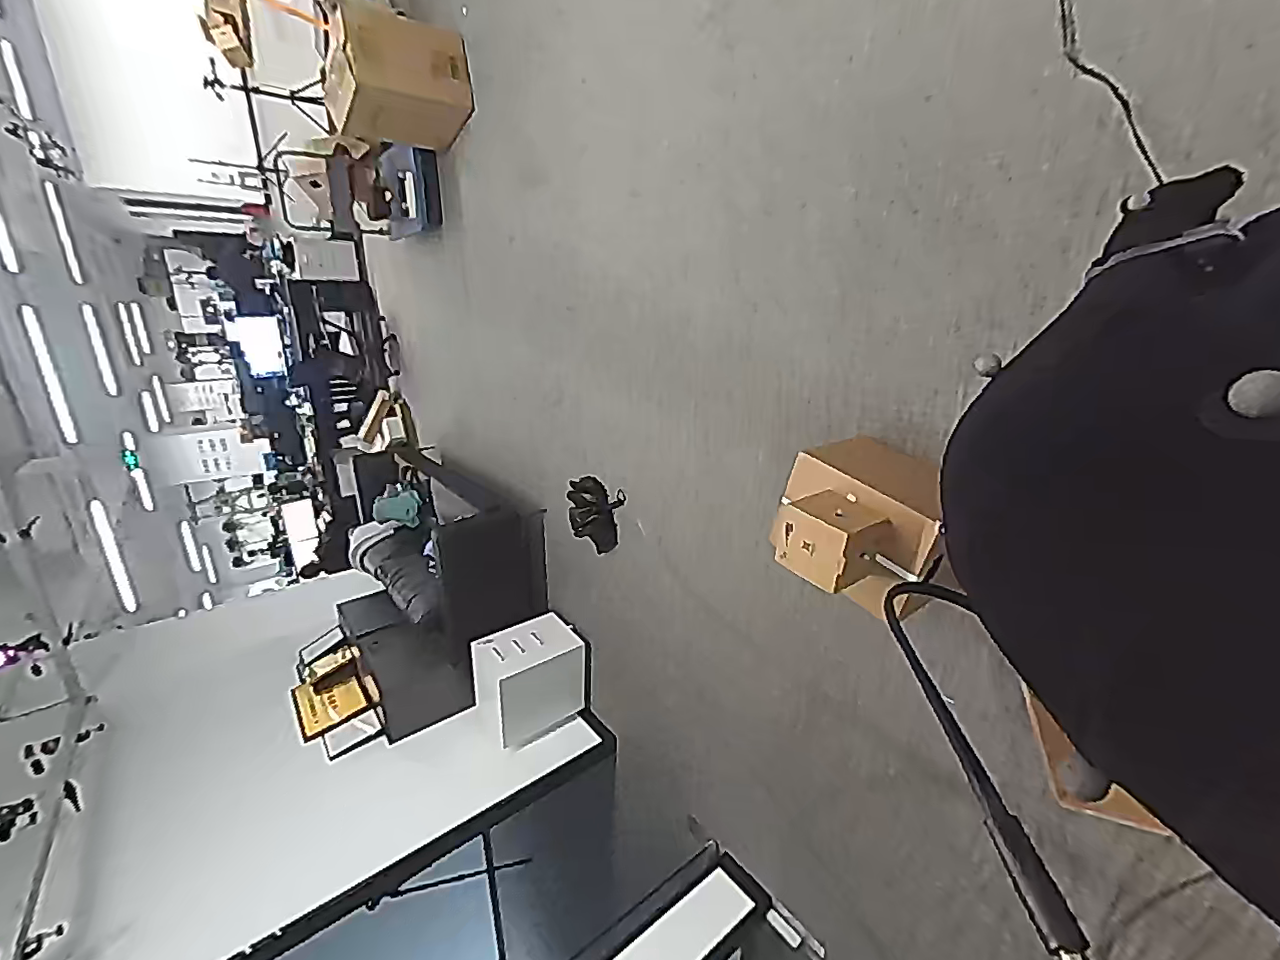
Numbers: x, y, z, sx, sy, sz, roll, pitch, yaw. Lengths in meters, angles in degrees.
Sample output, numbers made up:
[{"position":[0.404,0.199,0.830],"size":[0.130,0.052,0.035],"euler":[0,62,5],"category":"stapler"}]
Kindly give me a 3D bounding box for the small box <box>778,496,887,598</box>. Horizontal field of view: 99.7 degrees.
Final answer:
[{"position":[0.472,0.154,1.323],"size":[0.179,0.176,0.168],"euler":[31,124,44],"category":"small box"}]
